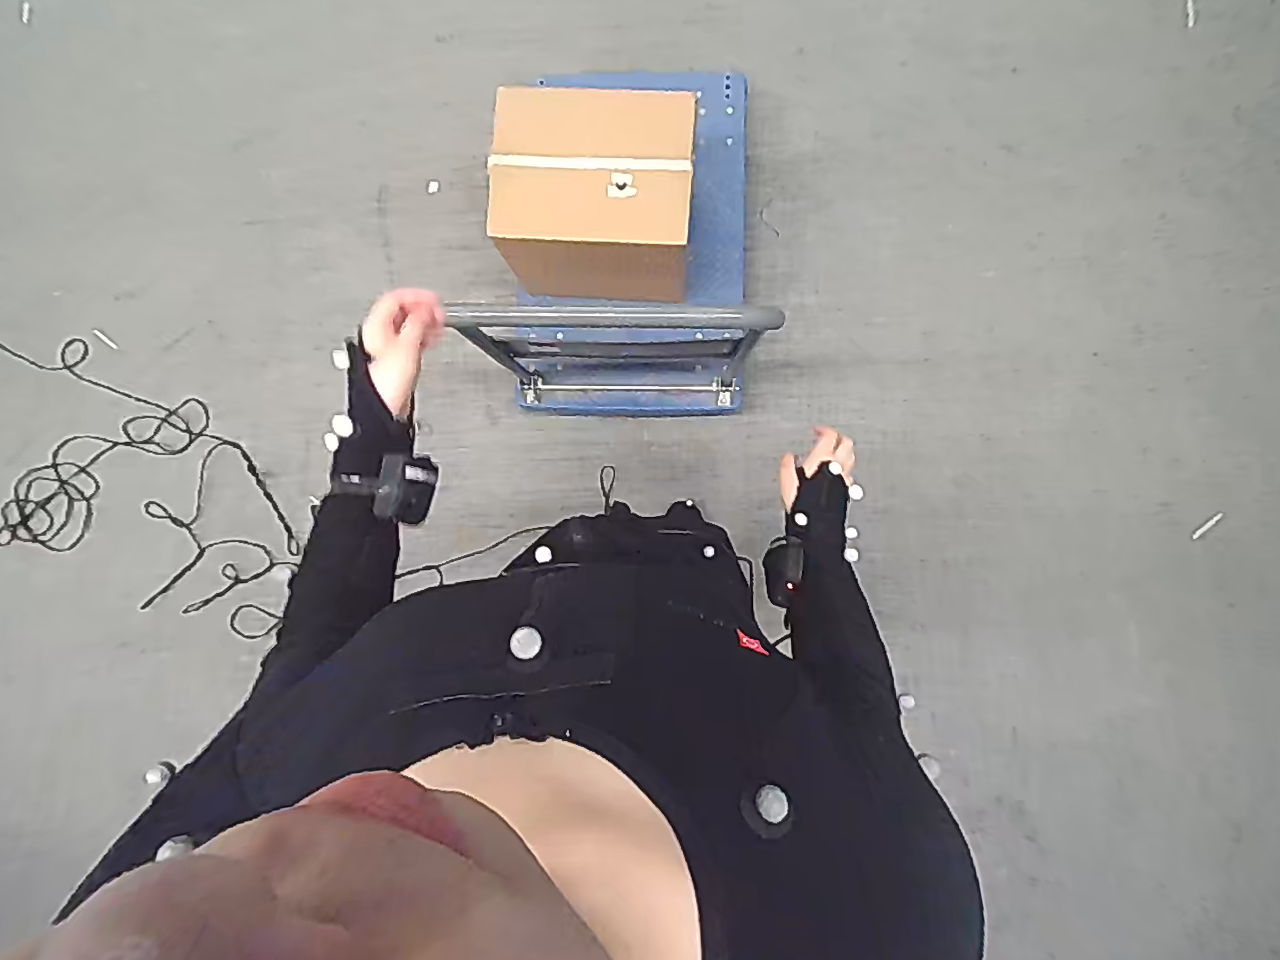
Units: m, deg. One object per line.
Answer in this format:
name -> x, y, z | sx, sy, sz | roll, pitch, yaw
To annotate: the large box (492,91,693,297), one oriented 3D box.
large box -> -0.094, -0.630, 1.244 | 0.408, 0.320, 0.320 | 3, 88, 2
